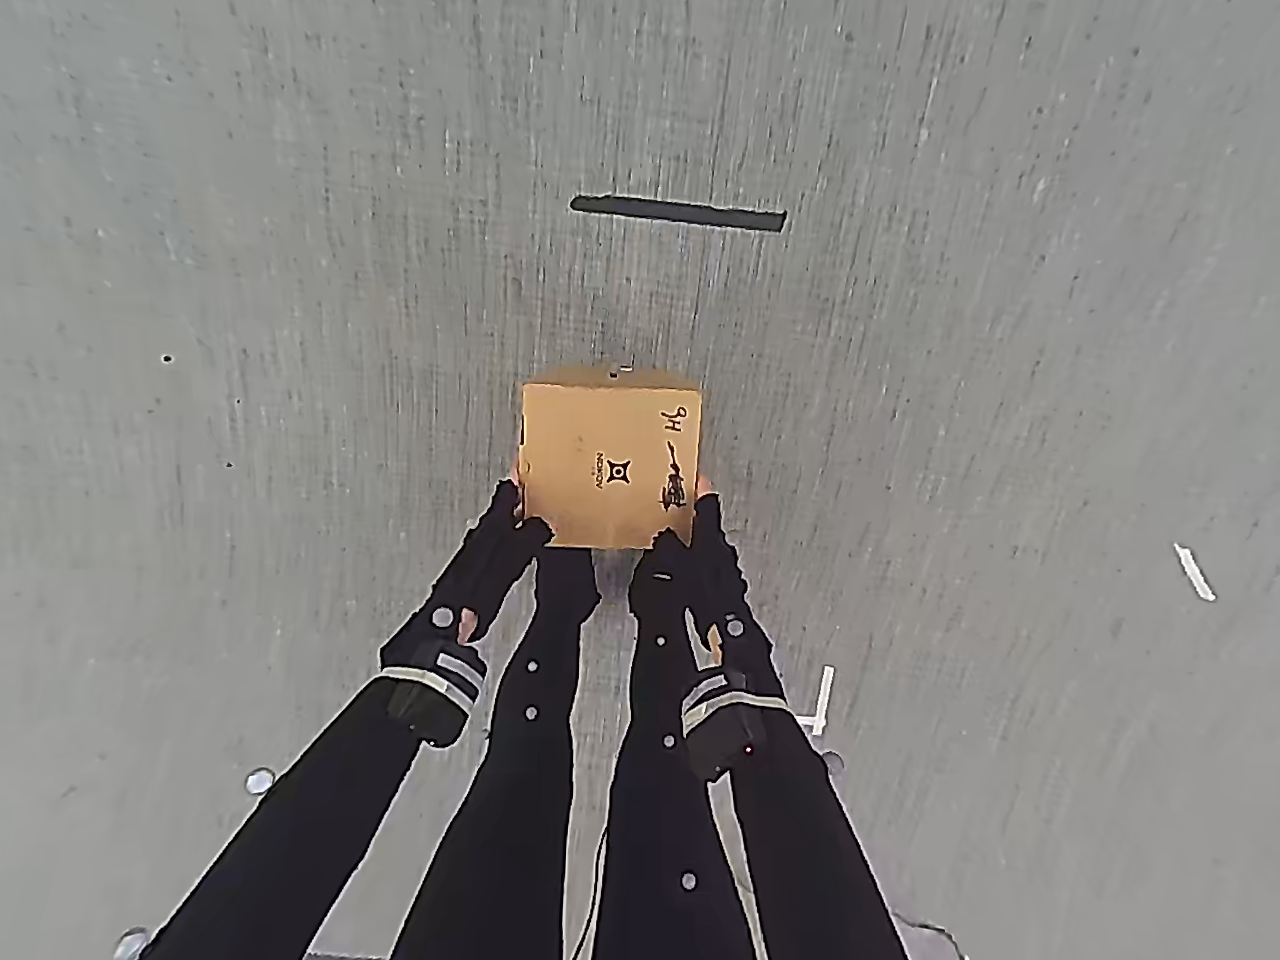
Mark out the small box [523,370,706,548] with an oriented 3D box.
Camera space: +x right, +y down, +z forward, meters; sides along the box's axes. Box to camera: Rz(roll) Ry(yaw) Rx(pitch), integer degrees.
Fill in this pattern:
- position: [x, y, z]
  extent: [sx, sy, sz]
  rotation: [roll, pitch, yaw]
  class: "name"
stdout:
- position: [-0.028, -0.034, 0.610]
  extent: [0.179, 0.176, 0.168]
  rotation: [2, 105, -2]
  class: "small box"
